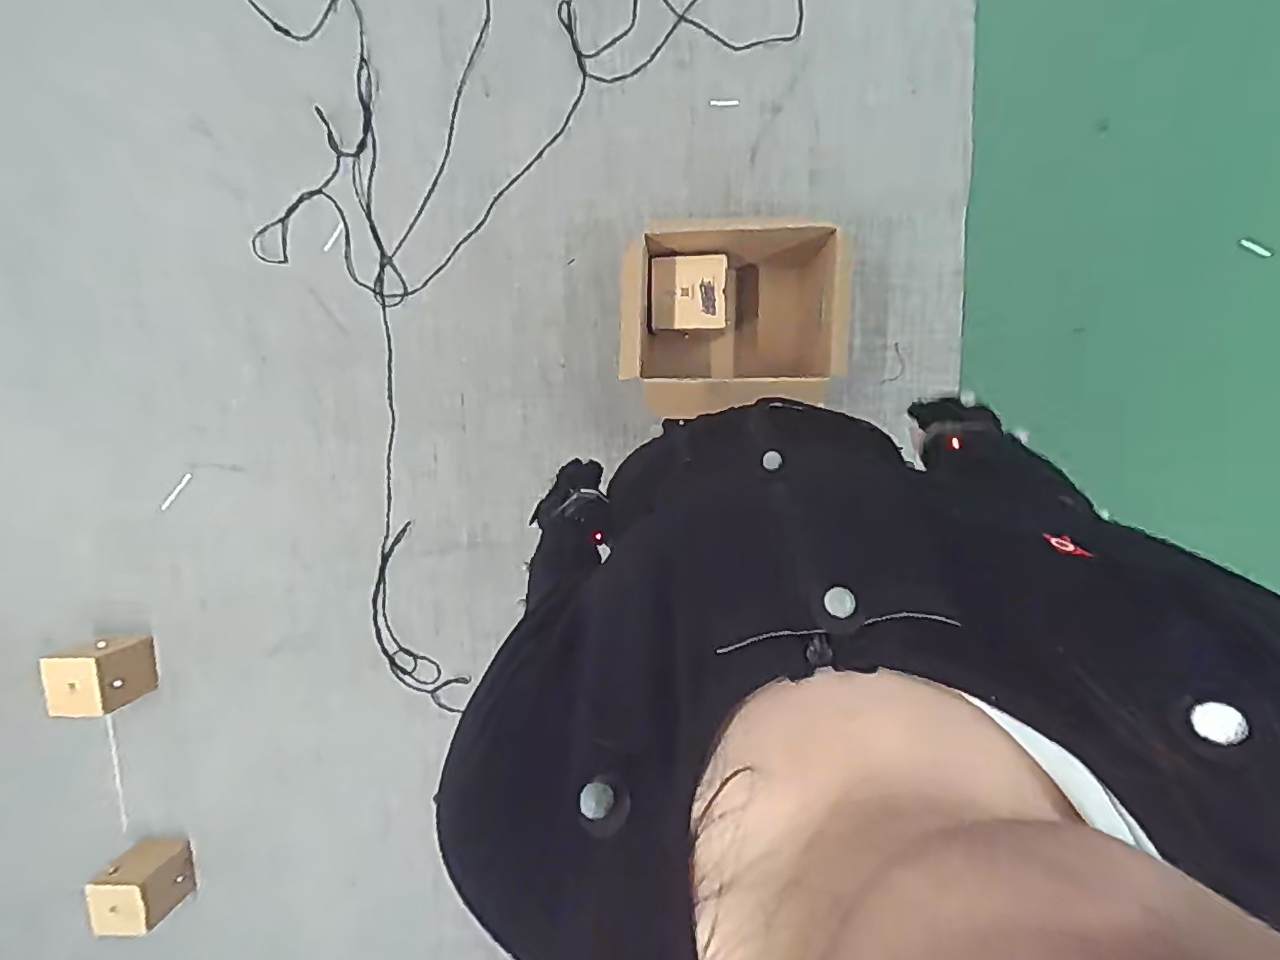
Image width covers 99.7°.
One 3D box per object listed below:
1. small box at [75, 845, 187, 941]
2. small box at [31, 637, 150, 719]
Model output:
[{"bbox_3d":[-1.535,1.244,1.640,0.179,0.176,0.168,-2,97,4],"label":"small box"},{"bbox_3d":[-1.576,0.564,1.561,0.168,0.176,0.179,-2,97,3],"label":"small box"}]
